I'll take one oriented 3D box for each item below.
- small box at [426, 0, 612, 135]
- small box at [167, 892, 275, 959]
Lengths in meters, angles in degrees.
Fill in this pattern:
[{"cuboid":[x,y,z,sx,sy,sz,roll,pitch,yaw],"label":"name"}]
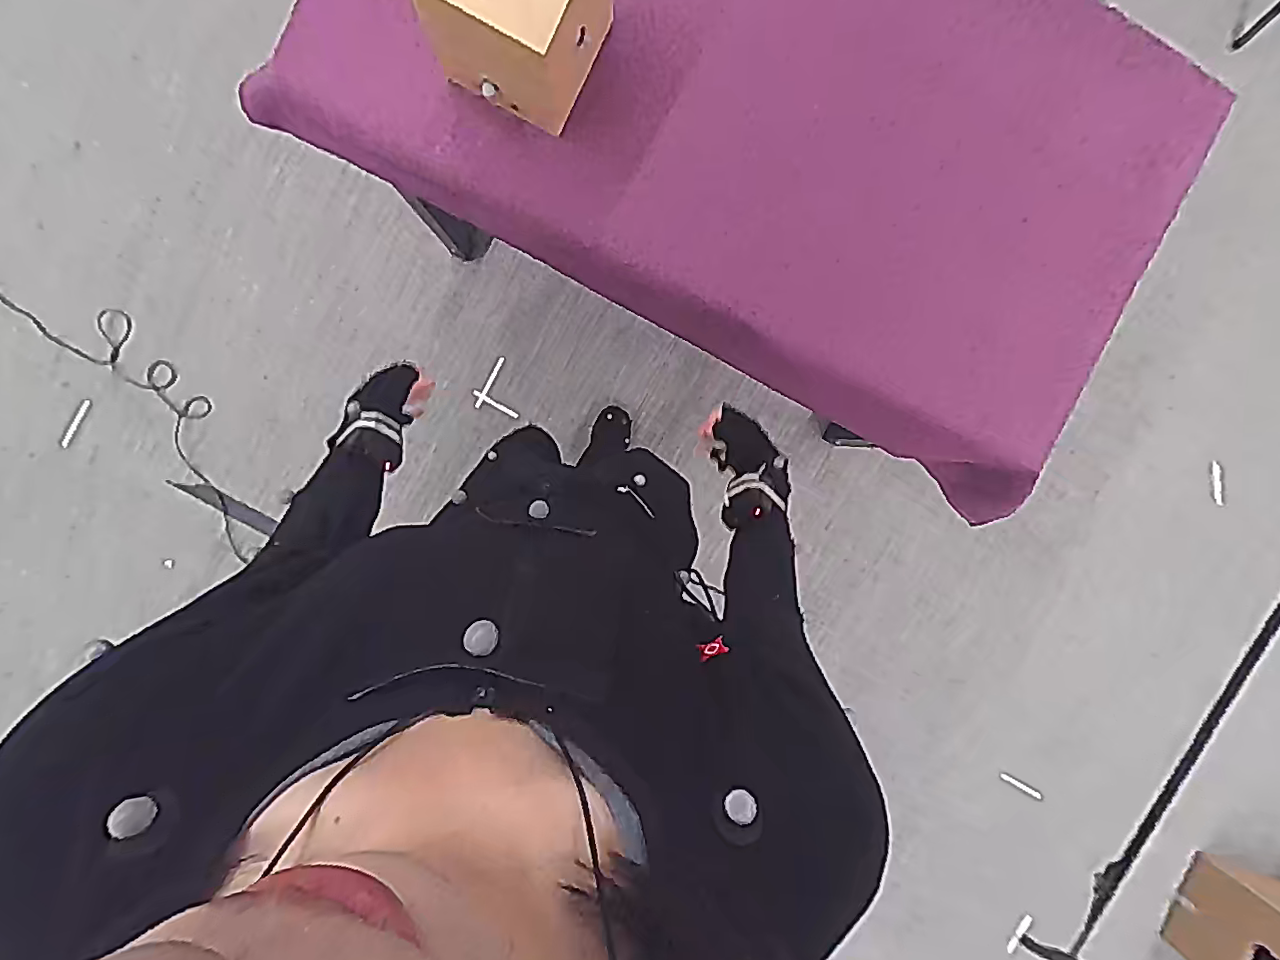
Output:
[{"cuboid":[-0.138,-0.571,0.649,0.168,0.176,0.179,26,93,-5],"label":"small box"},{"cuboid":[-1.117,1.241,1.421,0.179,0.176,0.168,33,91,-8],"label":"small box"}]
